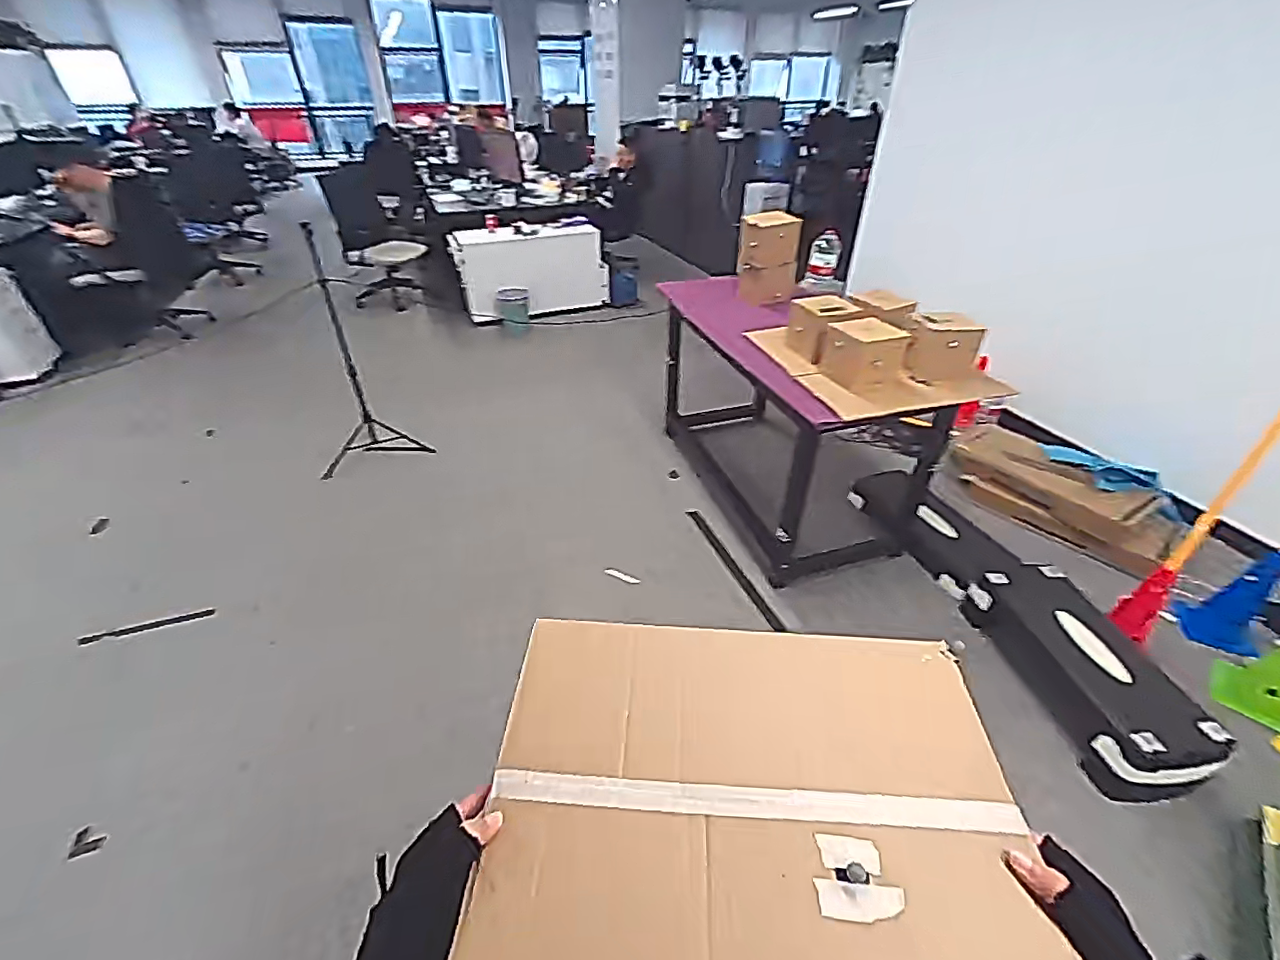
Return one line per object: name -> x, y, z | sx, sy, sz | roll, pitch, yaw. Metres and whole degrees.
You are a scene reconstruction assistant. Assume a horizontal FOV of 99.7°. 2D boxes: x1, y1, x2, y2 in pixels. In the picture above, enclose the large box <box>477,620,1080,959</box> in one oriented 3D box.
large box -> 0.095, 0.365, 0.526 | 0.408, 0.320, 0.320 | 4, 41, 3
